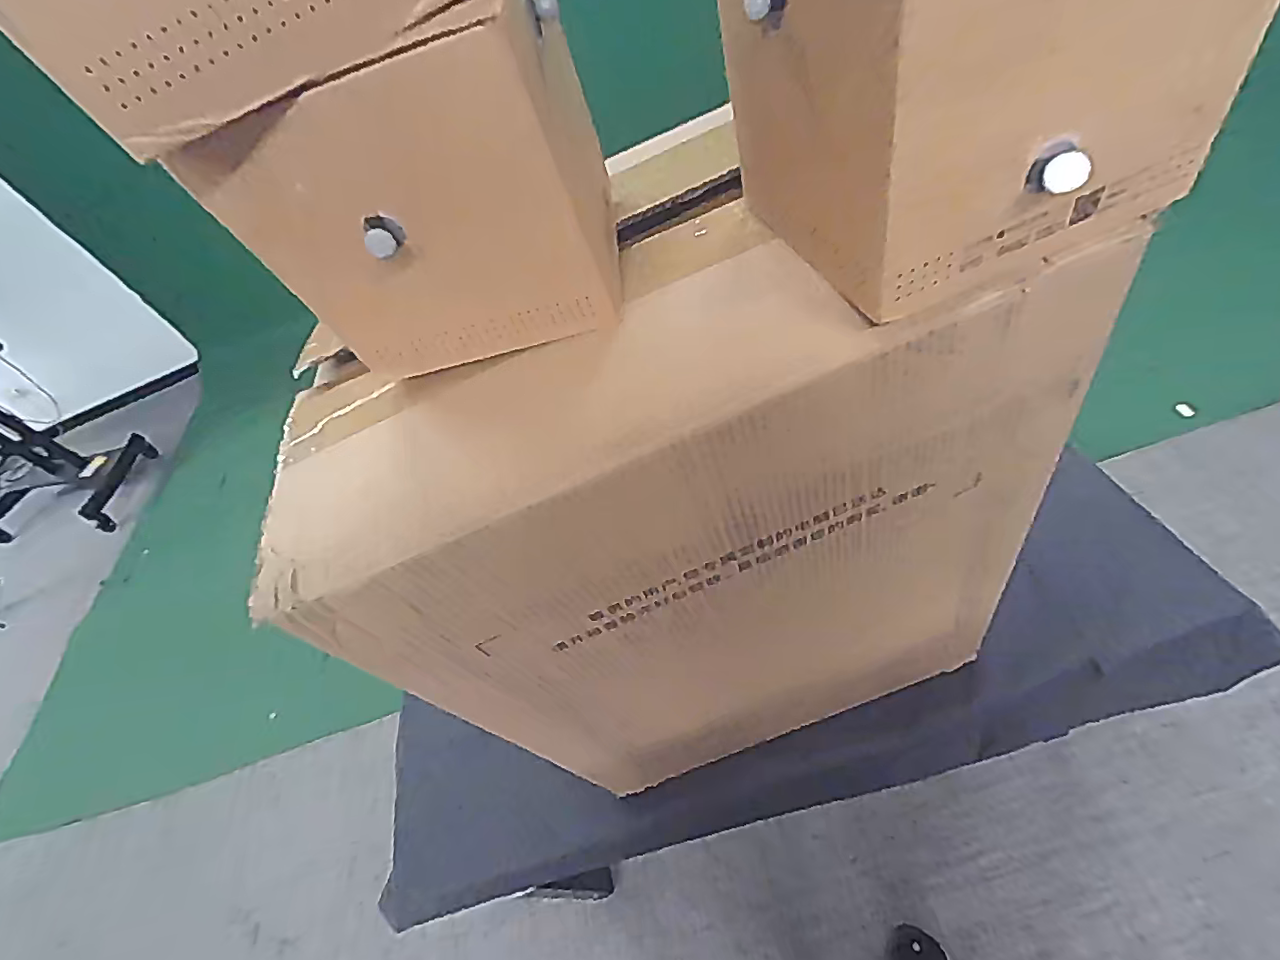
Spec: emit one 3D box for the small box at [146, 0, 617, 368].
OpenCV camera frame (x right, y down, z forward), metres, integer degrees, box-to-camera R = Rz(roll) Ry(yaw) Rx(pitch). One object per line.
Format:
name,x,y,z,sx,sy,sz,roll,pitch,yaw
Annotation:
small box,-0.124,-0.193,0.334,0.179,0.176,0.168,-12,59,12

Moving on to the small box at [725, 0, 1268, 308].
small box,0.146,-0.218,0.264,0.168,0.176,0.179,-23,50,3

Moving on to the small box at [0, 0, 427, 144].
small box,-0.183,-0.268,0.201,0.179,0.176,0.168,-26,58,0
